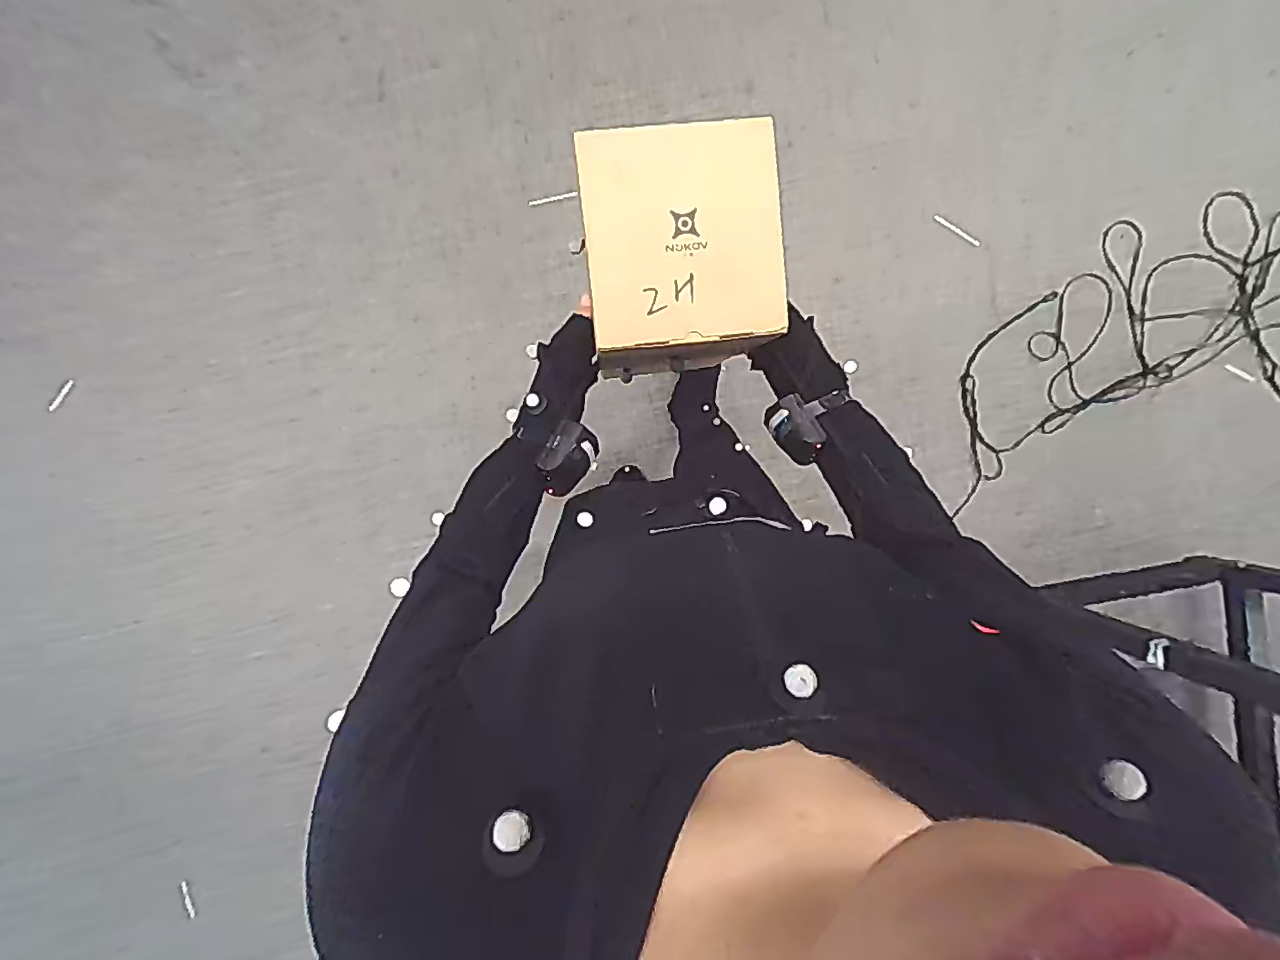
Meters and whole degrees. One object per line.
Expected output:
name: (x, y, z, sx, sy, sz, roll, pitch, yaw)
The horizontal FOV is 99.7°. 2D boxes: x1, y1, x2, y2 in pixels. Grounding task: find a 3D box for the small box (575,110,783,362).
small box: (0.028, -0.219, 0.527, 0.168, 0.176, 0.179, -6, 96, -3)
